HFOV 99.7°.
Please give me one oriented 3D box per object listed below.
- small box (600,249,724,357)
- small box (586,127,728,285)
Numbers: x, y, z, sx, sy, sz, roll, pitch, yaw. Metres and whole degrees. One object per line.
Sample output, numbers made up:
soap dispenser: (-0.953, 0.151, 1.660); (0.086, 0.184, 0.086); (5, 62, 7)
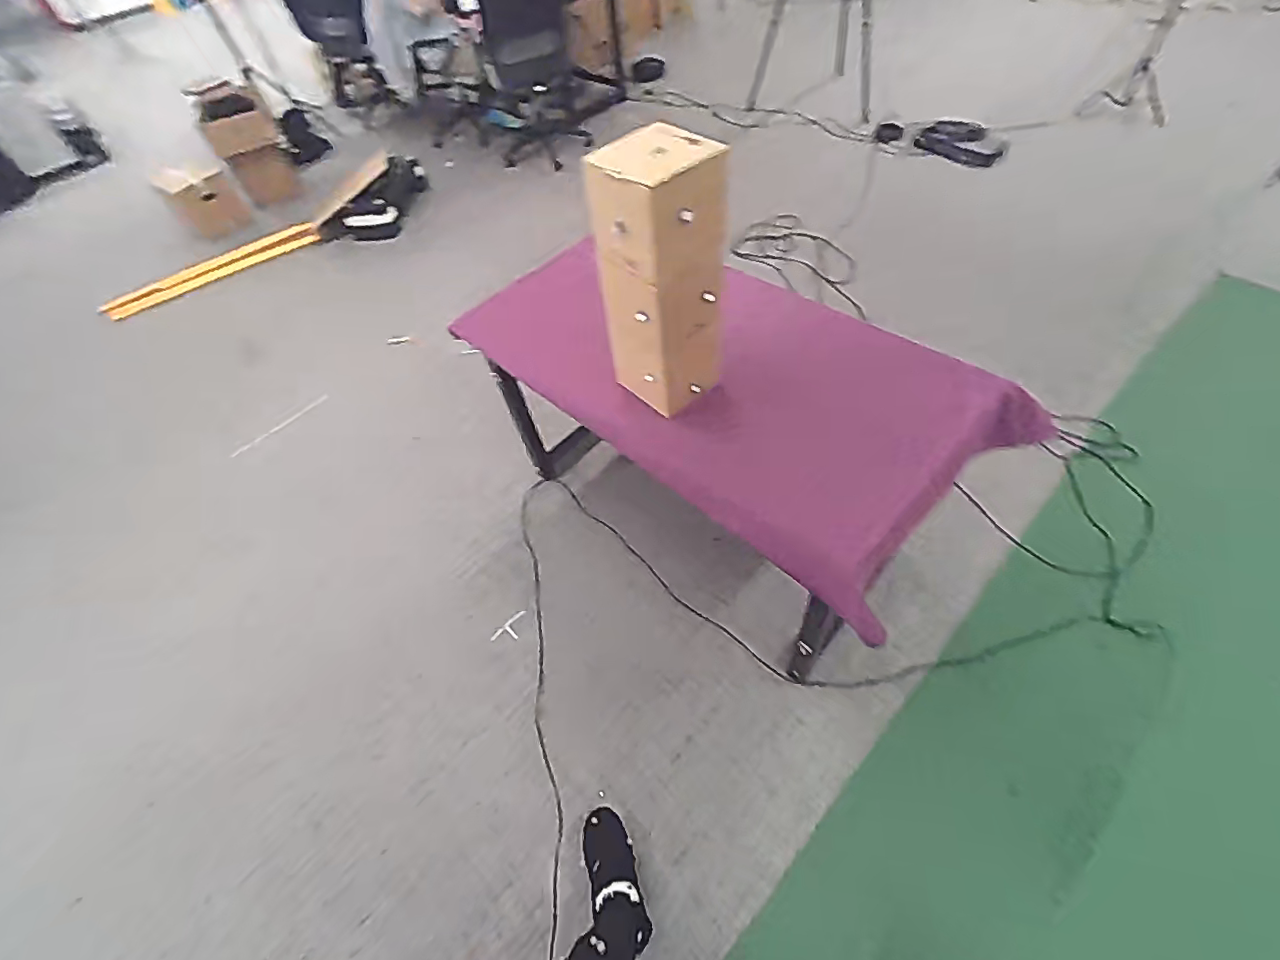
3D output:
small box: (0.048, -0.369, 1.063); (0.168, 0.176, 0.179); (-37, 57, -19)
small box: (0.036, -0.470, 0.935); (0.179, 0.176, 0.168); (-37, 58, -19)
